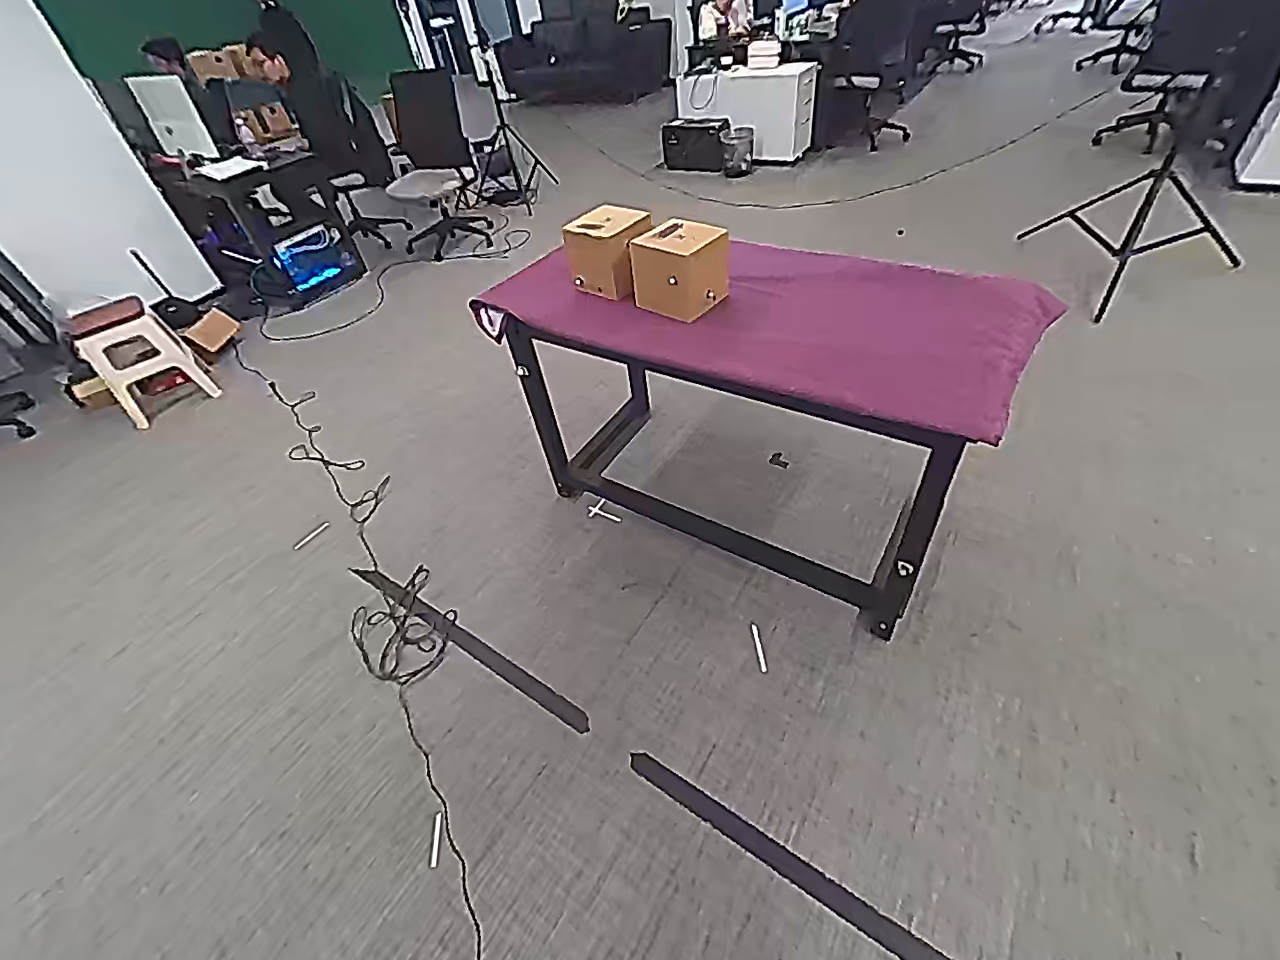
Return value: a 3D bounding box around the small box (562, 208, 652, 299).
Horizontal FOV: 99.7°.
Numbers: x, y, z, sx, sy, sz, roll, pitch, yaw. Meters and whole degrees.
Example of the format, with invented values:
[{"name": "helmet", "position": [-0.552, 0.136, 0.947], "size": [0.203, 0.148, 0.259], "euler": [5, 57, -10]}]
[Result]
[{"name": "small box", "position": [-0.080, -0.614, 1.467], "size": [0.168, 0.176, 0.179], "euler": [27, 55, 30]}]
